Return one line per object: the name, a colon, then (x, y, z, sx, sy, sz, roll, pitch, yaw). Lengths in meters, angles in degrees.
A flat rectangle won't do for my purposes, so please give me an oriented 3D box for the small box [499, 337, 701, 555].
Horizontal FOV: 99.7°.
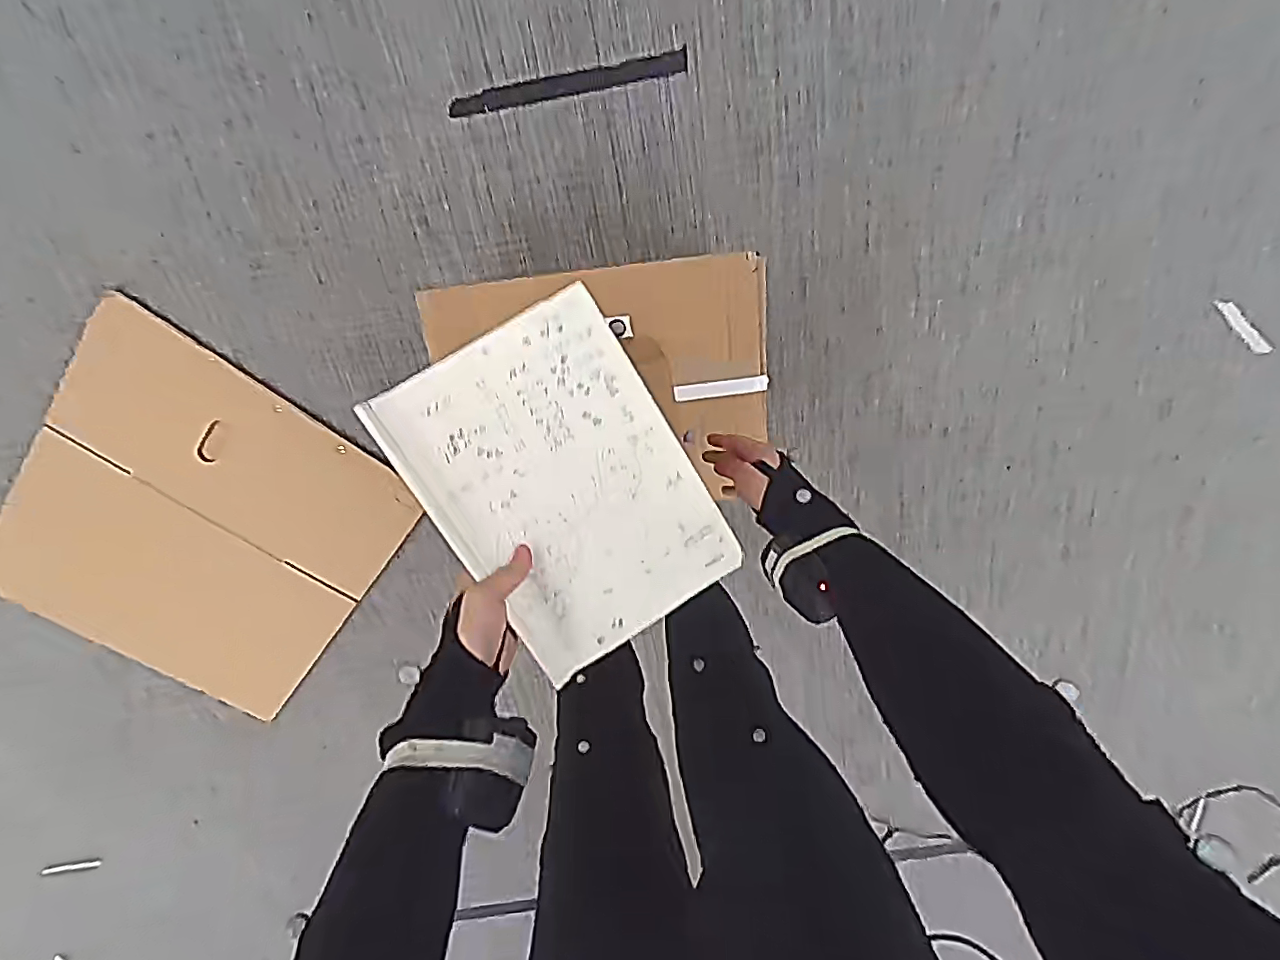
small box: (-0.036, -0.046, 0.595, 0.168, 0.176, 0.179, -13, 111, 2)
